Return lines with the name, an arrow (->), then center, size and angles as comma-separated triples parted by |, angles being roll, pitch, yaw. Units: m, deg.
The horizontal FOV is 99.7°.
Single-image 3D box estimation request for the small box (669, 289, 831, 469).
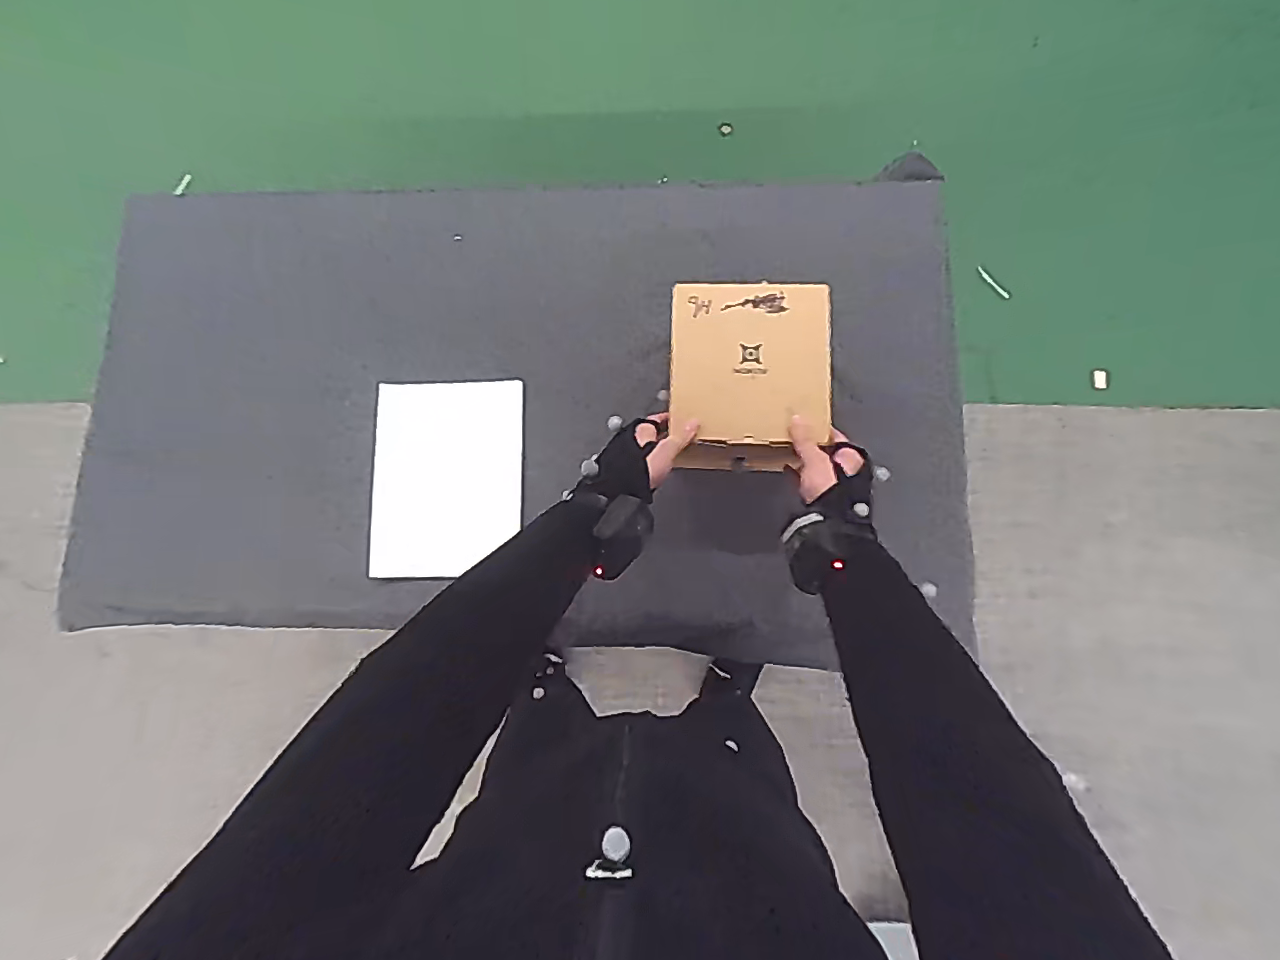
small box -> 0.121, -0.108, 0.646 | 0.168, 0.176, 0.179 | 2, 84, 3
